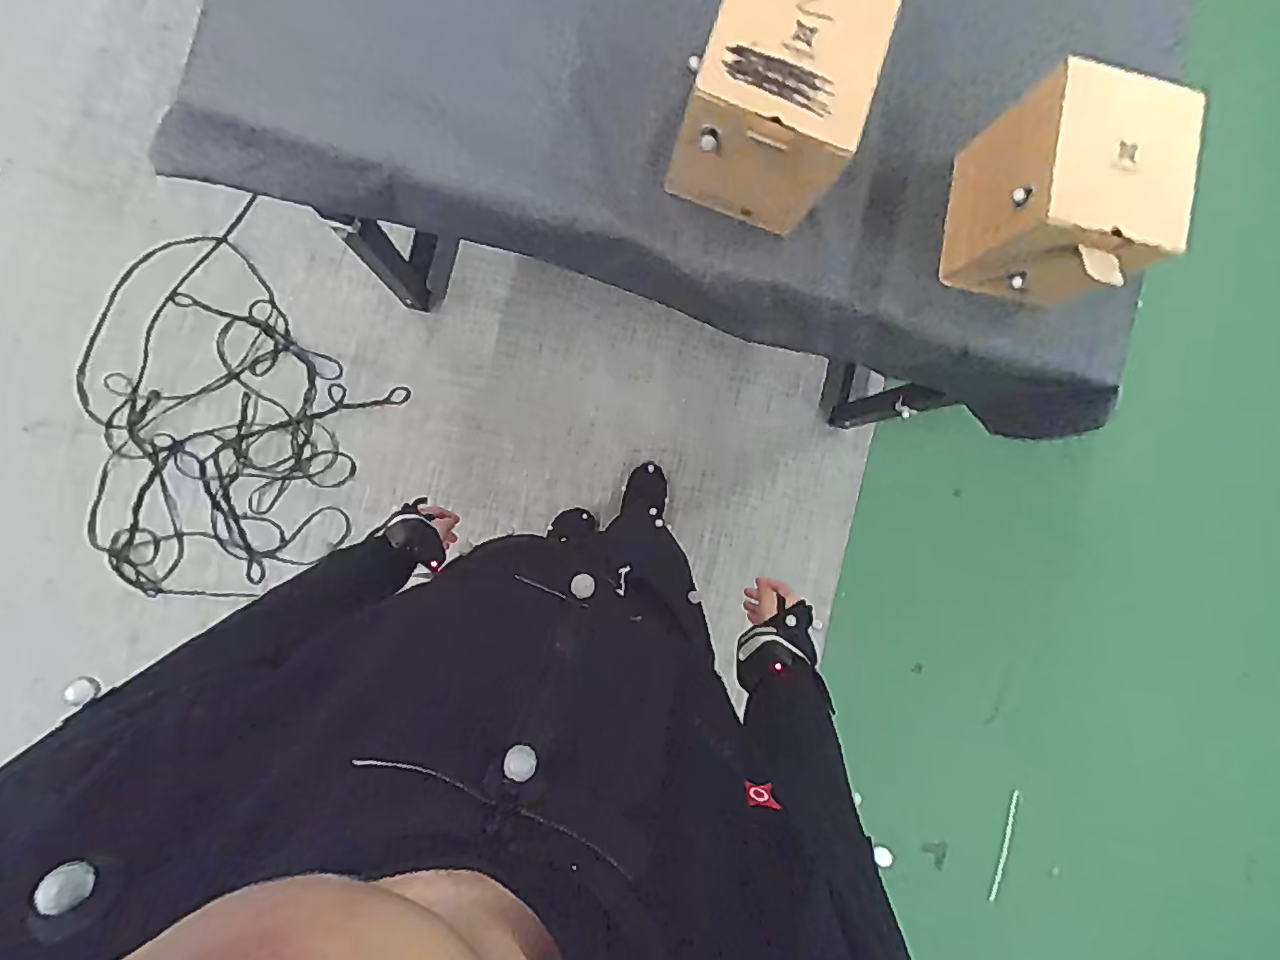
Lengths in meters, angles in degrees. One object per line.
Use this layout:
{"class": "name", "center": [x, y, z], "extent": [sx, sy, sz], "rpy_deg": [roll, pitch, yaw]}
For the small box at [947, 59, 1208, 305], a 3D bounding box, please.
{"class": "small box", "center": [0.496, -0.331, 0.637], "extent": [0.168, 0.176, 0.179], "rpy_deg": [9, 88, -7]}
